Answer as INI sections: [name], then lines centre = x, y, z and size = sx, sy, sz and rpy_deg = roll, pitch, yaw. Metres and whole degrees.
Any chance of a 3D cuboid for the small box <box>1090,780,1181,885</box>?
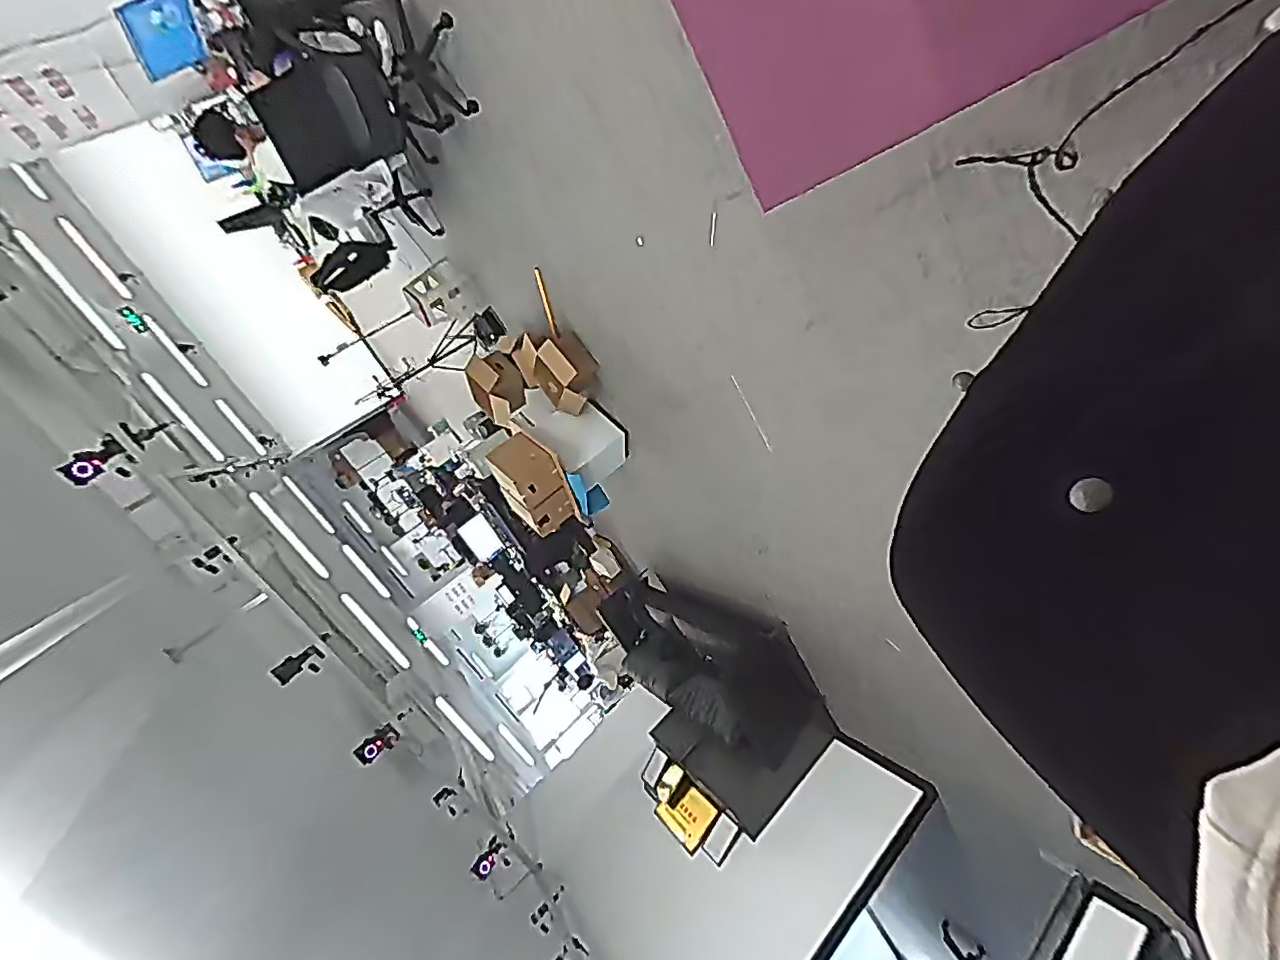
[small box]
centre = 1.515, 1.073, 1.655
size = 0.168, 0.176, 0.179
rpy_deg = 20, 142, 52
